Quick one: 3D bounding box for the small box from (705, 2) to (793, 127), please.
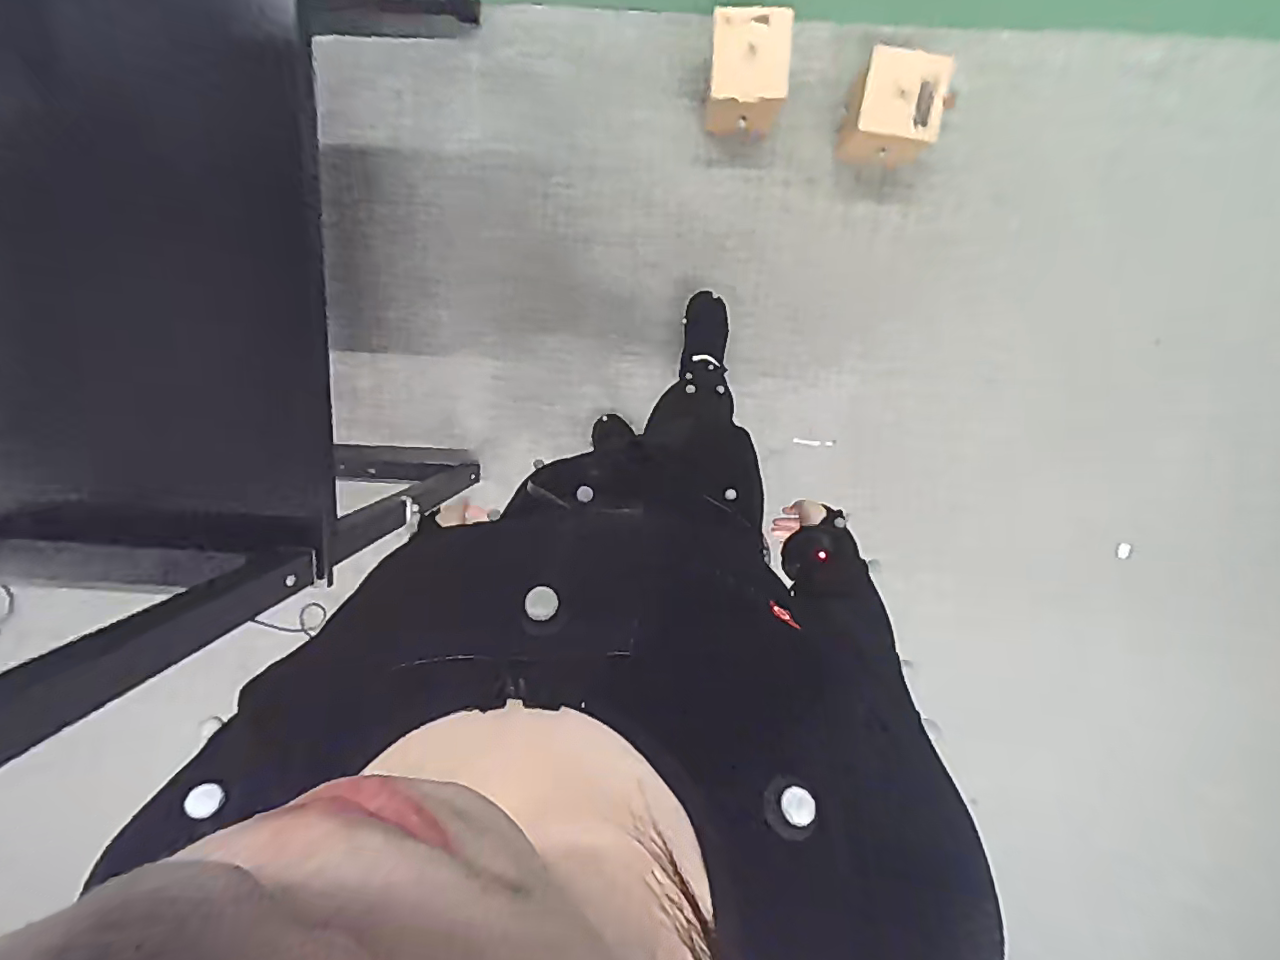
[{"bbox_3d":[0.236,-0.919,1.212,0.168,0.176,0.179,2,101,2],"label":"small box"}]
